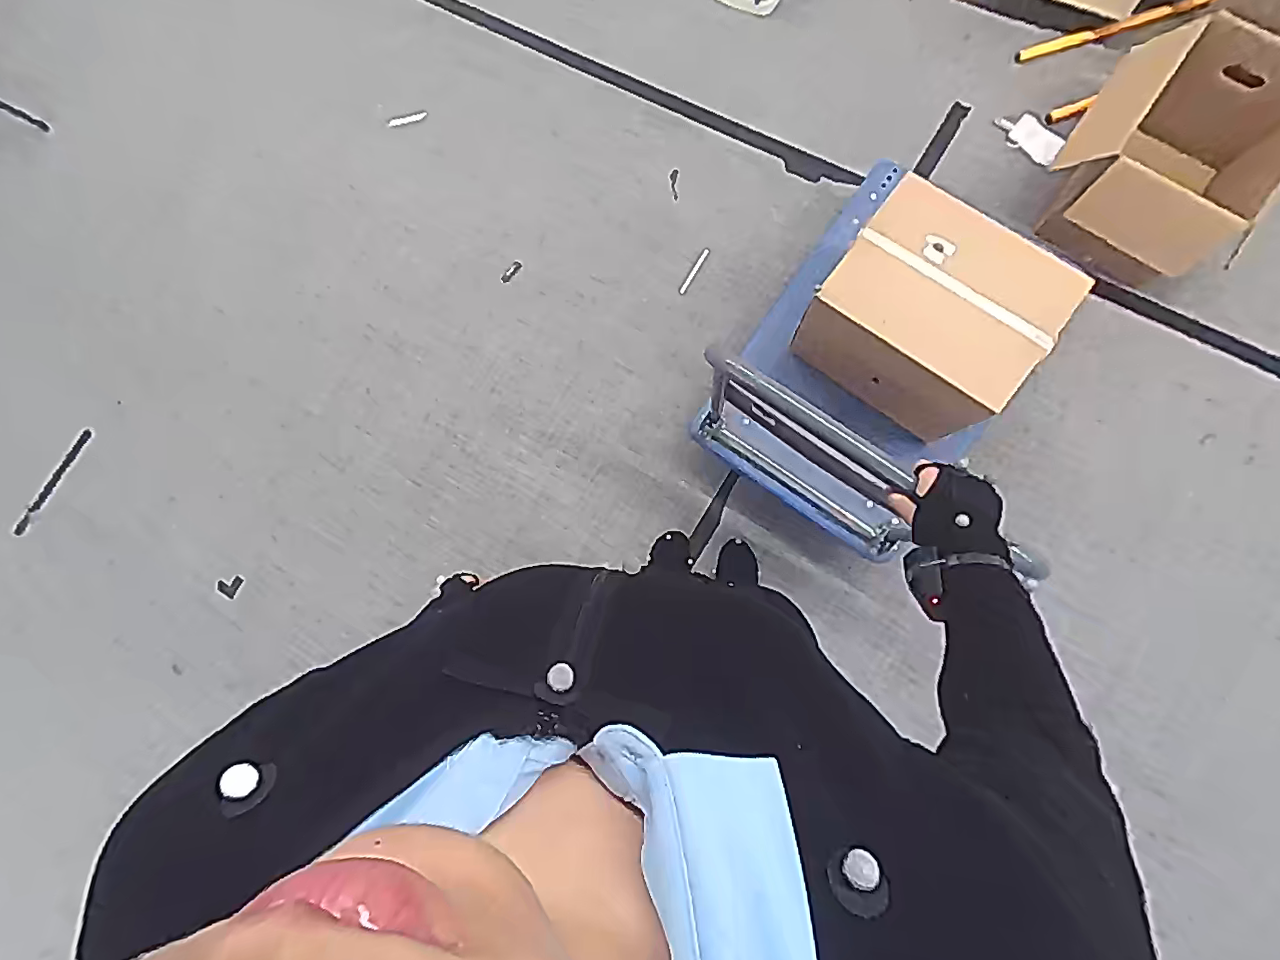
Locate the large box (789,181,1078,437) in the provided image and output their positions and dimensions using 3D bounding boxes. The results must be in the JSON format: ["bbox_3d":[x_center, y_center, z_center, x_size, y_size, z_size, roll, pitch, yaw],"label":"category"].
[{"bbox_3d":[0.601,-0.349,1.192,0.408,0.320,0.320,36,87,10],"label":"large box"}]
